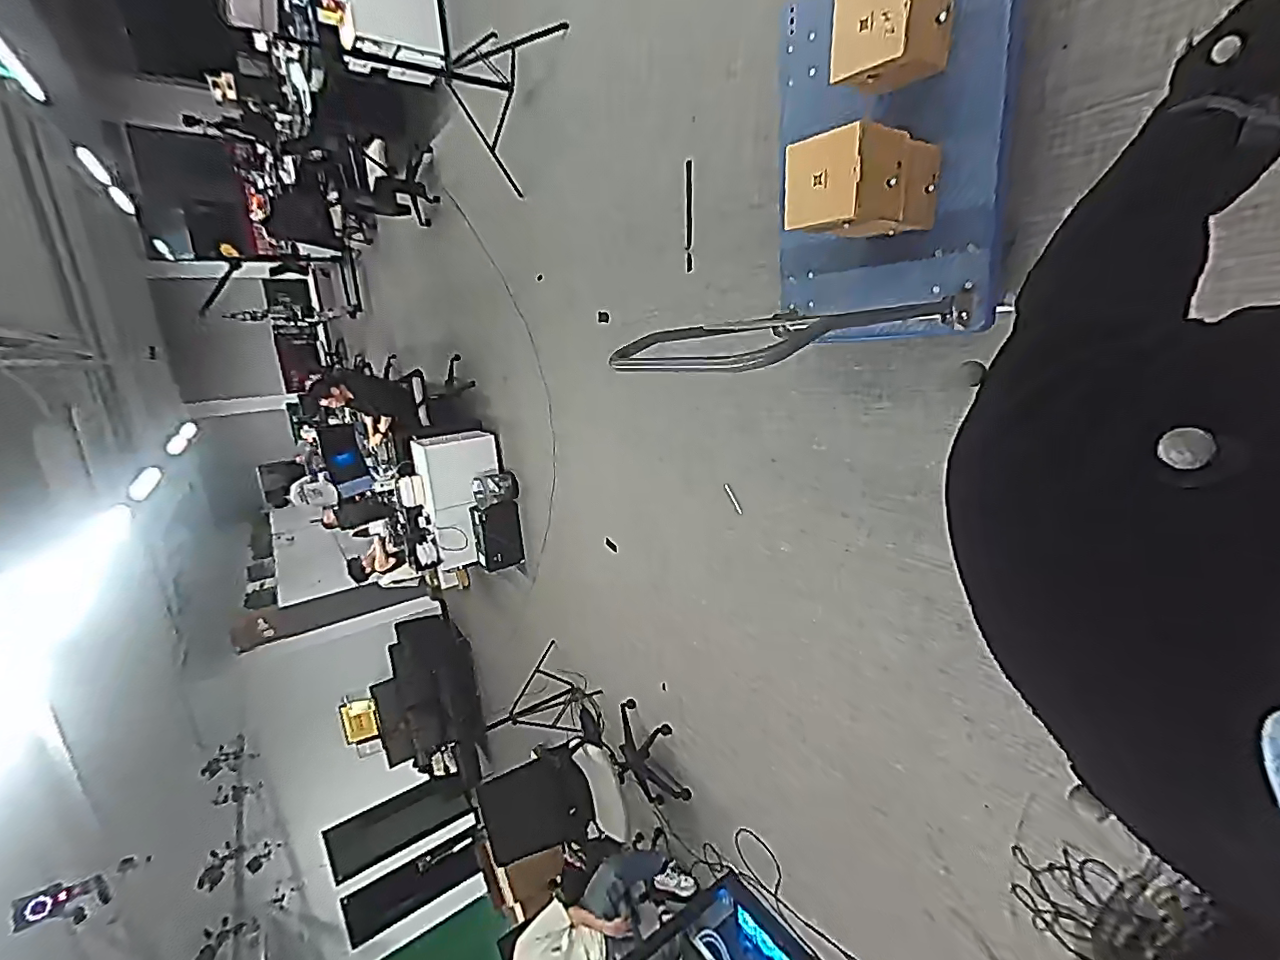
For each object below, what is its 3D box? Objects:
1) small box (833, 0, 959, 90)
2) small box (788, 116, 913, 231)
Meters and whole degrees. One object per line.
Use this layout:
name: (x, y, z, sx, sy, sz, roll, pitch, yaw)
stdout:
small box: (0.537, -0.952, 1.137, 0.179, 0.176, 0.168, 22, 120, 52)
small box: (0.432, -0.621, 1.121, 0.179, 0.176, 0.168, 18, 116, 52)
